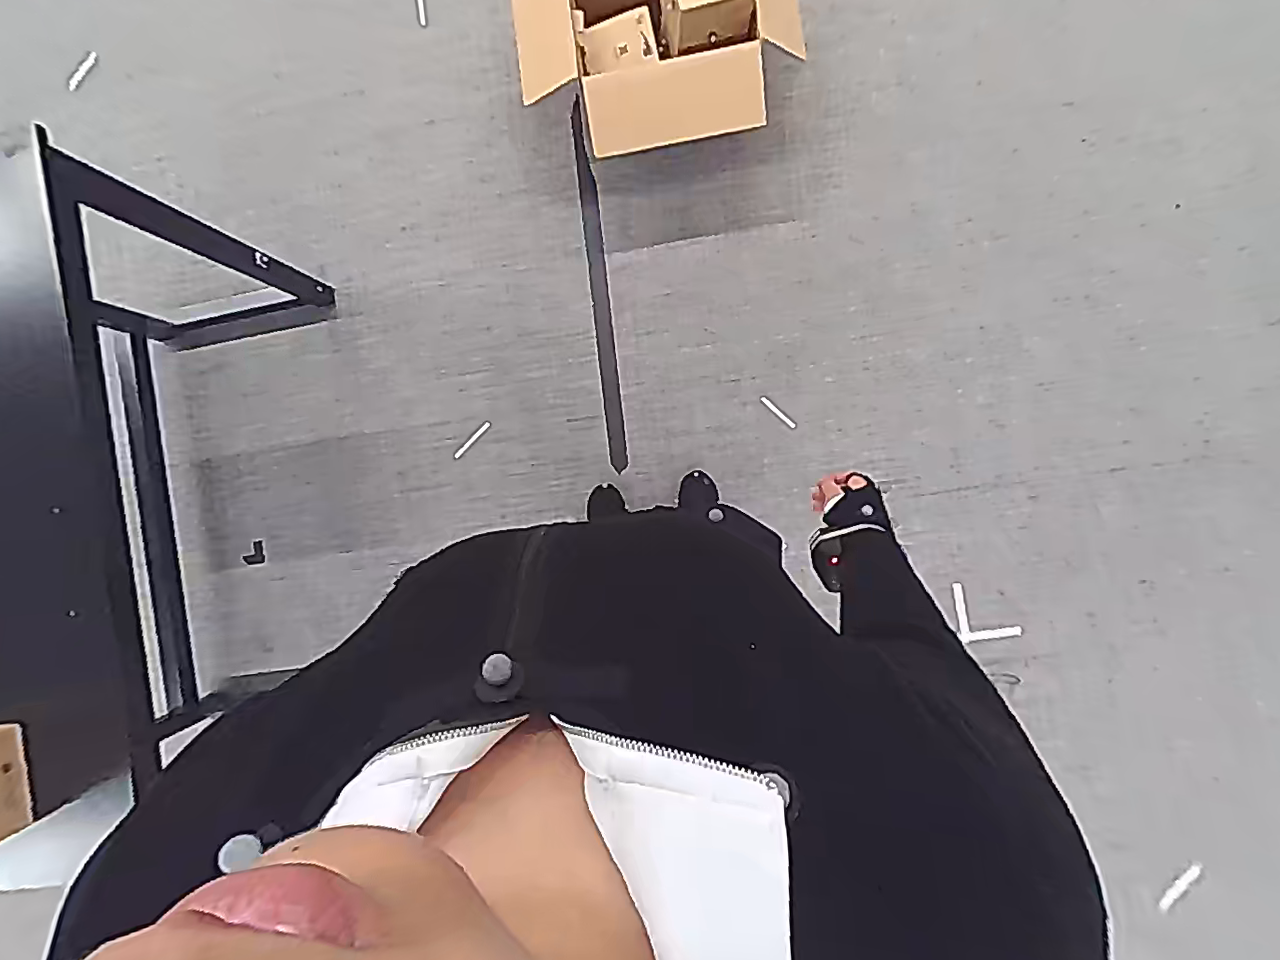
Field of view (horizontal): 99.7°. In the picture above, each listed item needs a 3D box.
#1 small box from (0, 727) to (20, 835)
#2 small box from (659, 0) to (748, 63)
[{"bbox_3d":[-1.079,0.482,0.794,0.179,0.176,0.168,-9,89,6],"label":"small box"},{"bbox_3d":[0.139,-1.077,1.204,0.168,0.176,0.179,-14,90,1],"label":"small box"}]
